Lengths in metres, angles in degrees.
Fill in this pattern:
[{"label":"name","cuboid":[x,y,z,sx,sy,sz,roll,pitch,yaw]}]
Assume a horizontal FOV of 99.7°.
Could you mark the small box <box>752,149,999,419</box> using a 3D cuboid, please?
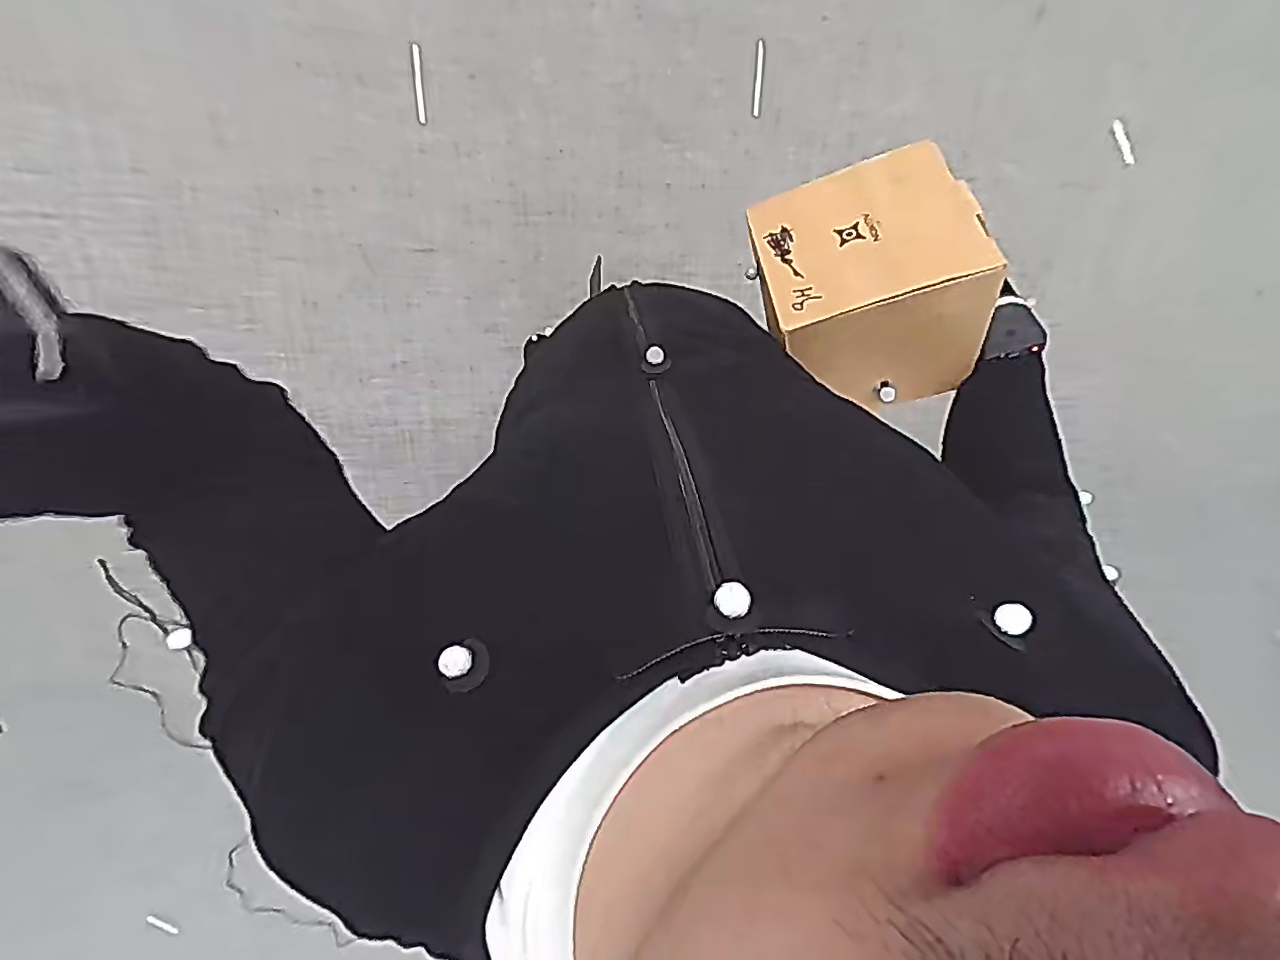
[{"label":"small box","cuboid":[0.226,-0.188,0.560,0.179,0.168,0.176,-14,150,14]}]
